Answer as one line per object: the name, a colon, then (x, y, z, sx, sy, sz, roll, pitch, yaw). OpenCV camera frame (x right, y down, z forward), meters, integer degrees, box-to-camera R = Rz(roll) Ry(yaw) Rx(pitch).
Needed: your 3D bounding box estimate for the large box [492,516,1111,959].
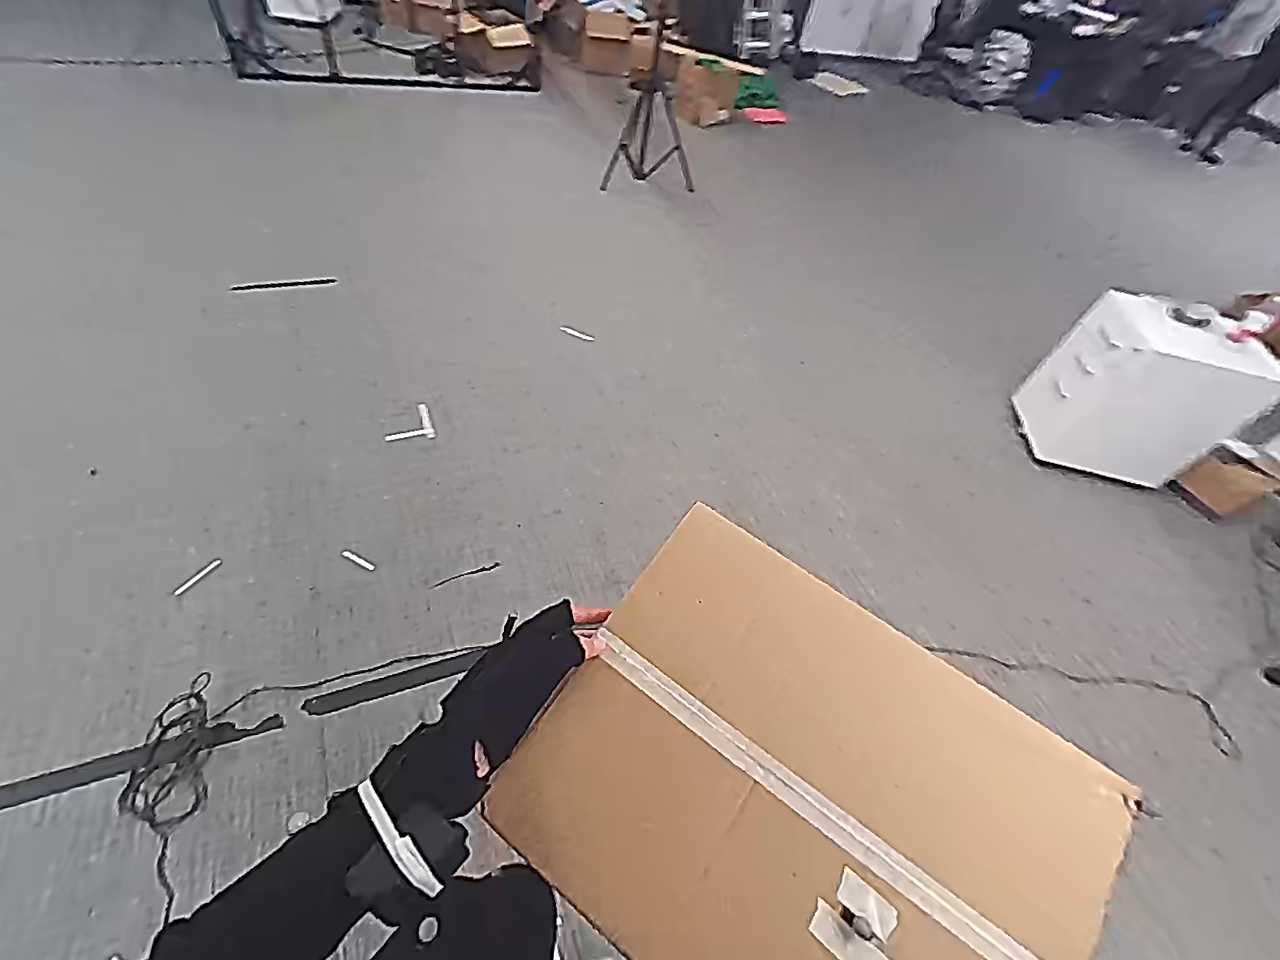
large box: (0.128, 0.308, 0.562, 0.408, 0.320, 0.320, 33, 70, 15)
